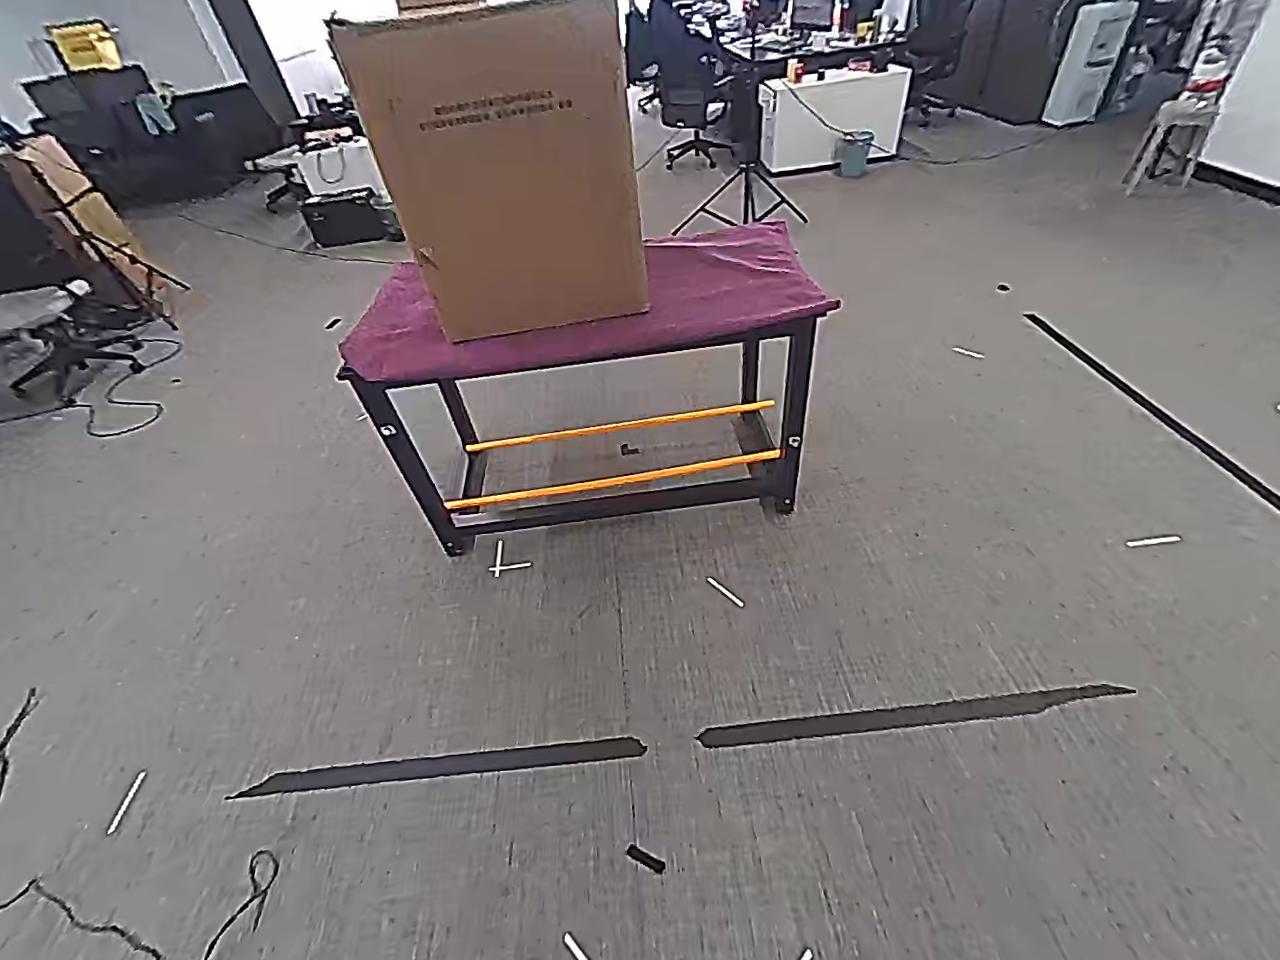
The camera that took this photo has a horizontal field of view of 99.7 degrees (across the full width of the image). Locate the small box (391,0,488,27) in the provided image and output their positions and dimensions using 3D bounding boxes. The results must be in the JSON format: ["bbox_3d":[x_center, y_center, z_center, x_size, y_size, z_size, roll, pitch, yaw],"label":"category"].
[{"bbox_3d":[-0.432,-1.065,1.125,0.179,0.176,0.168,-8,43,0],"label":"small box"}]
